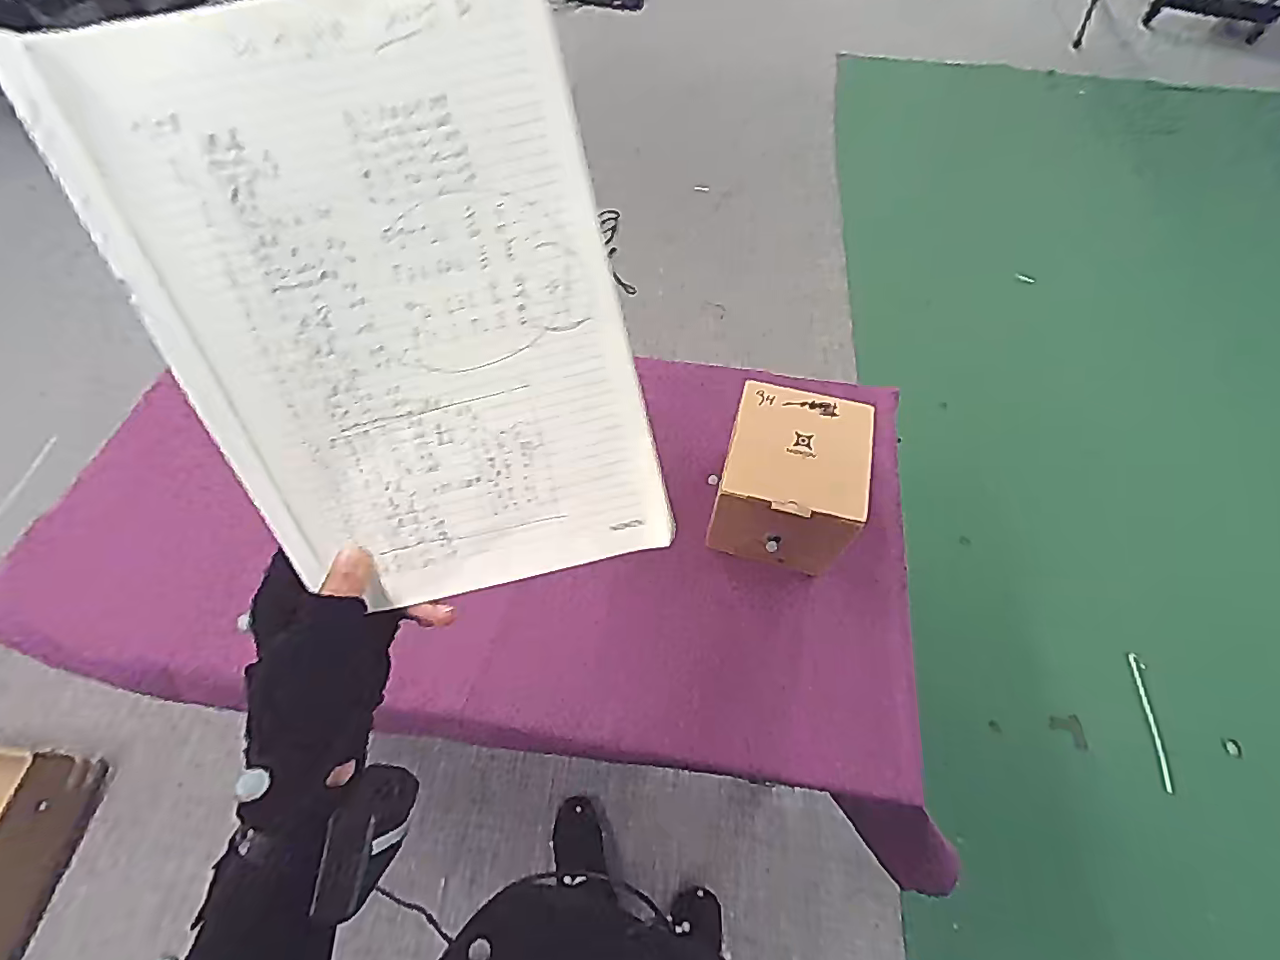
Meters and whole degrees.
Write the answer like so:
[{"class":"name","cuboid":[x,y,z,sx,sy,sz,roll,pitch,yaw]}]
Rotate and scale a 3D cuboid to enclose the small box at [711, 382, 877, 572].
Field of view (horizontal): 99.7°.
[{"class":"small box","cuboid":[0.195,0.003,0.718,0.168,0.176,0.179,14,61,8]}]
